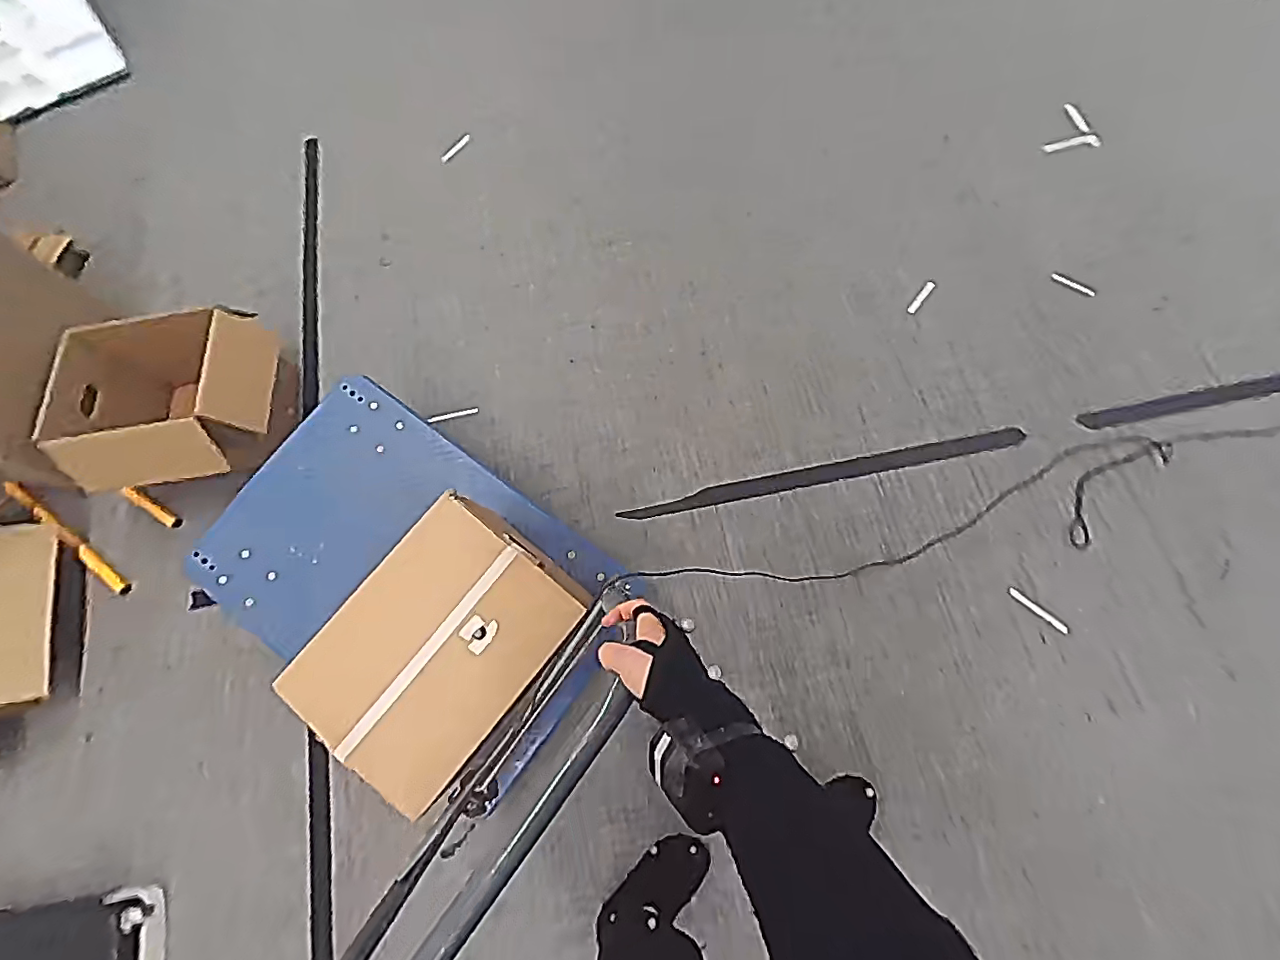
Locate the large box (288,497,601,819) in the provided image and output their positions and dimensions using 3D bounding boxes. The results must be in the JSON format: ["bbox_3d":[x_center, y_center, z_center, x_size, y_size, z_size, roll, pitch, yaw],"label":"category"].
[{"bbox_3d":[-0.321,0.304,1.009,0.320,0.320,0.408,38,80,7],"label":"large box"}]
